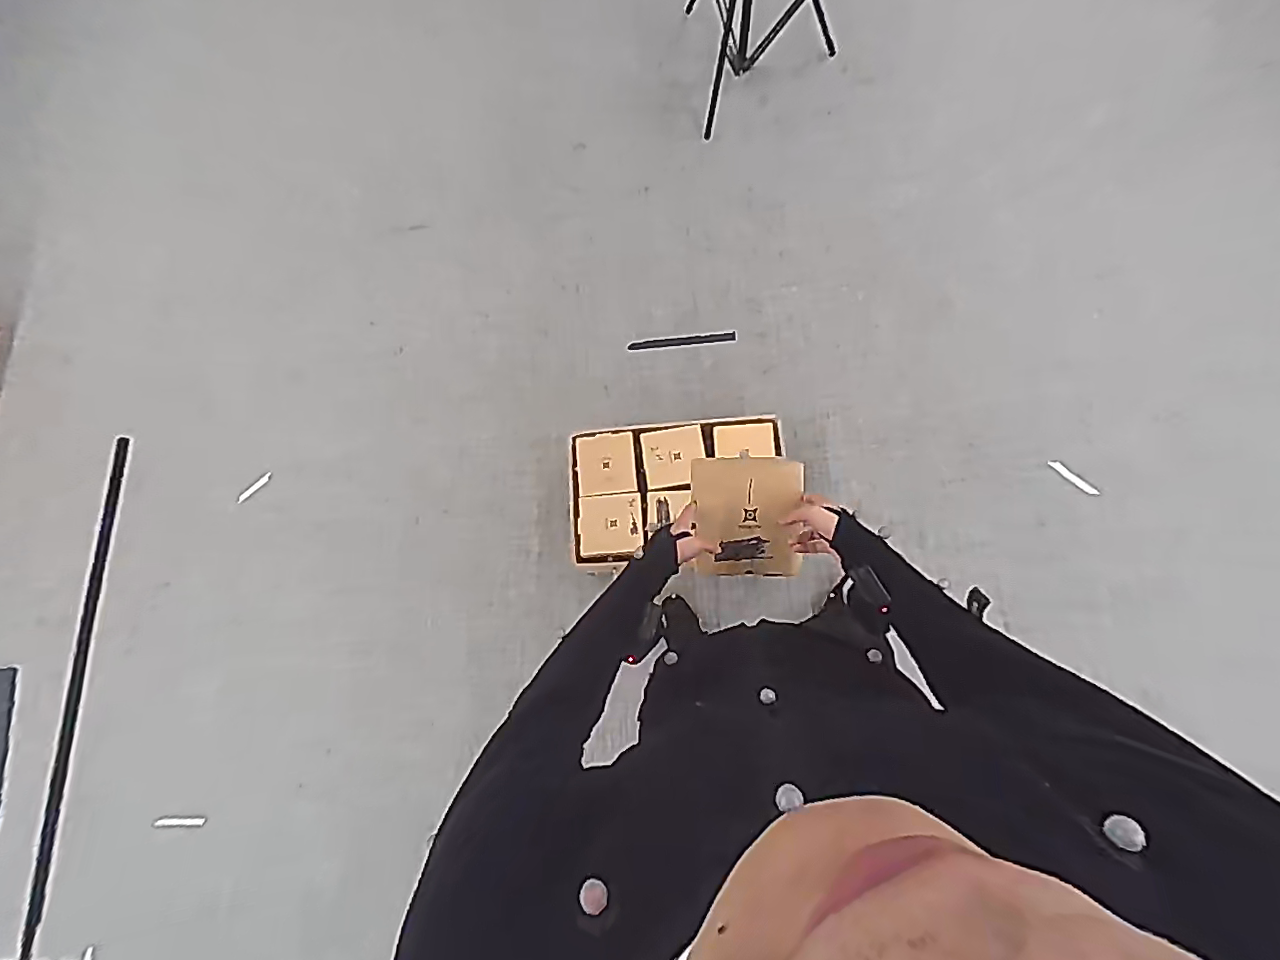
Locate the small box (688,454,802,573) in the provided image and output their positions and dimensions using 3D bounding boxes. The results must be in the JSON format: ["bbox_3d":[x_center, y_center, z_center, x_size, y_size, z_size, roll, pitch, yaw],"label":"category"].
[{"bbox_3d":[0.168,0.049,0.910,0.168,0.176,0.179,-1,95,2],"label":"small box"}]
